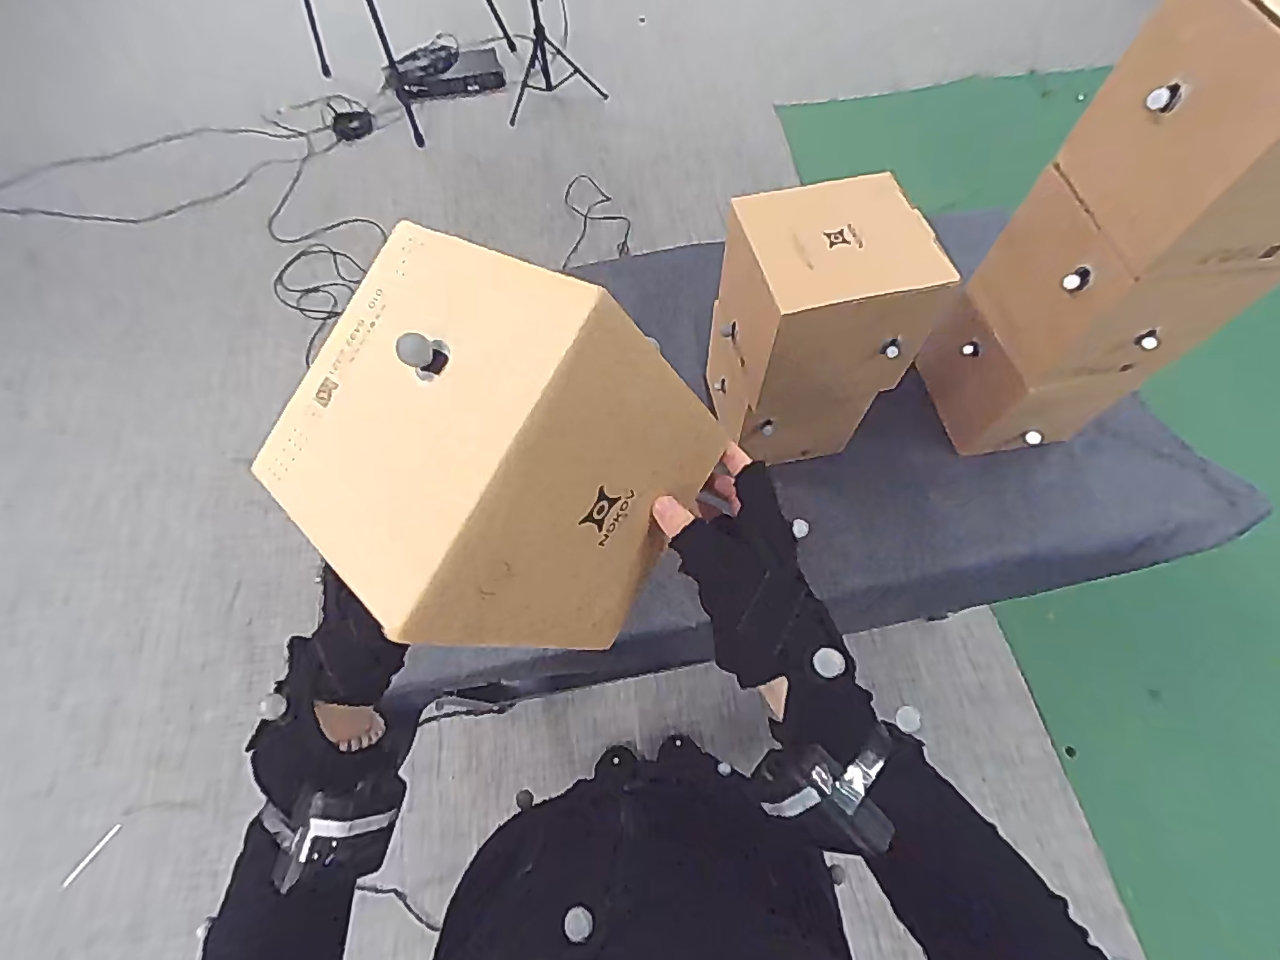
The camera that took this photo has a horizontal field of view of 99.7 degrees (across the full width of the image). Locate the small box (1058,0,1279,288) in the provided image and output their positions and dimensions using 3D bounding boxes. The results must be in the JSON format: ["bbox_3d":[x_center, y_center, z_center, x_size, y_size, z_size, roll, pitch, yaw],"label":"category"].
[{"bbox_3d":[0.512,-0.291,0.457,0.168,0.176,0.179,-6,63,0],"label":"small box"}]

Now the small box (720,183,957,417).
[{"bbox_3d":[0.199,-0.192,0.604,0.179,0.176,0.168,-11,63,-3],"label":"small box"}]

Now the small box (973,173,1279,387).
[{"bbox_3d":[0.519,-0.219,0.604,0.168,0.176,0.179,-7,63,-1],"label":"small box"}]

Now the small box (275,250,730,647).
[{"bbox_3d":[-0.076,-0.017,0.334,0.176,0.179,0.168,29,88,30],"label":"small box"}]
